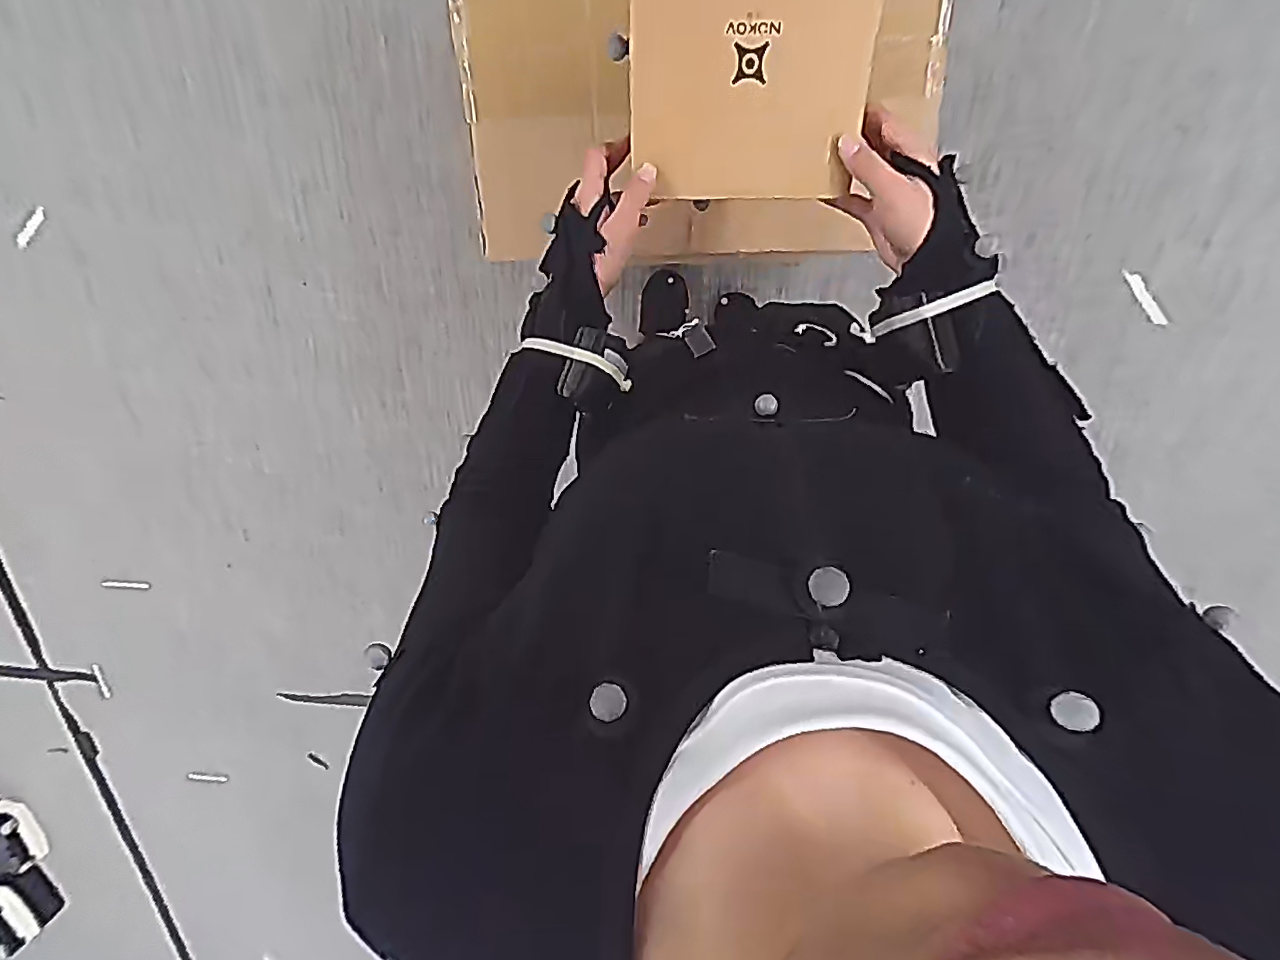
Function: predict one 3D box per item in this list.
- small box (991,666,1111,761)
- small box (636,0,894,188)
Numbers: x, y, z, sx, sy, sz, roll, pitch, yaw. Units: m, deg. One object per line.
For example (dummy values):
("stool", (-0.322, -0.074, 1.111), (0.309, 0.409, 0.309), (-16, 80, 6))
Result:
("small box", (1.101, 0.626, 1.463), (0.179, 0.176, 0.168), (4, 108, 4))
("small box", (0.082, -0.334, 0.423), (0.168, 0.176, 0.179), (0, 121, 1))
